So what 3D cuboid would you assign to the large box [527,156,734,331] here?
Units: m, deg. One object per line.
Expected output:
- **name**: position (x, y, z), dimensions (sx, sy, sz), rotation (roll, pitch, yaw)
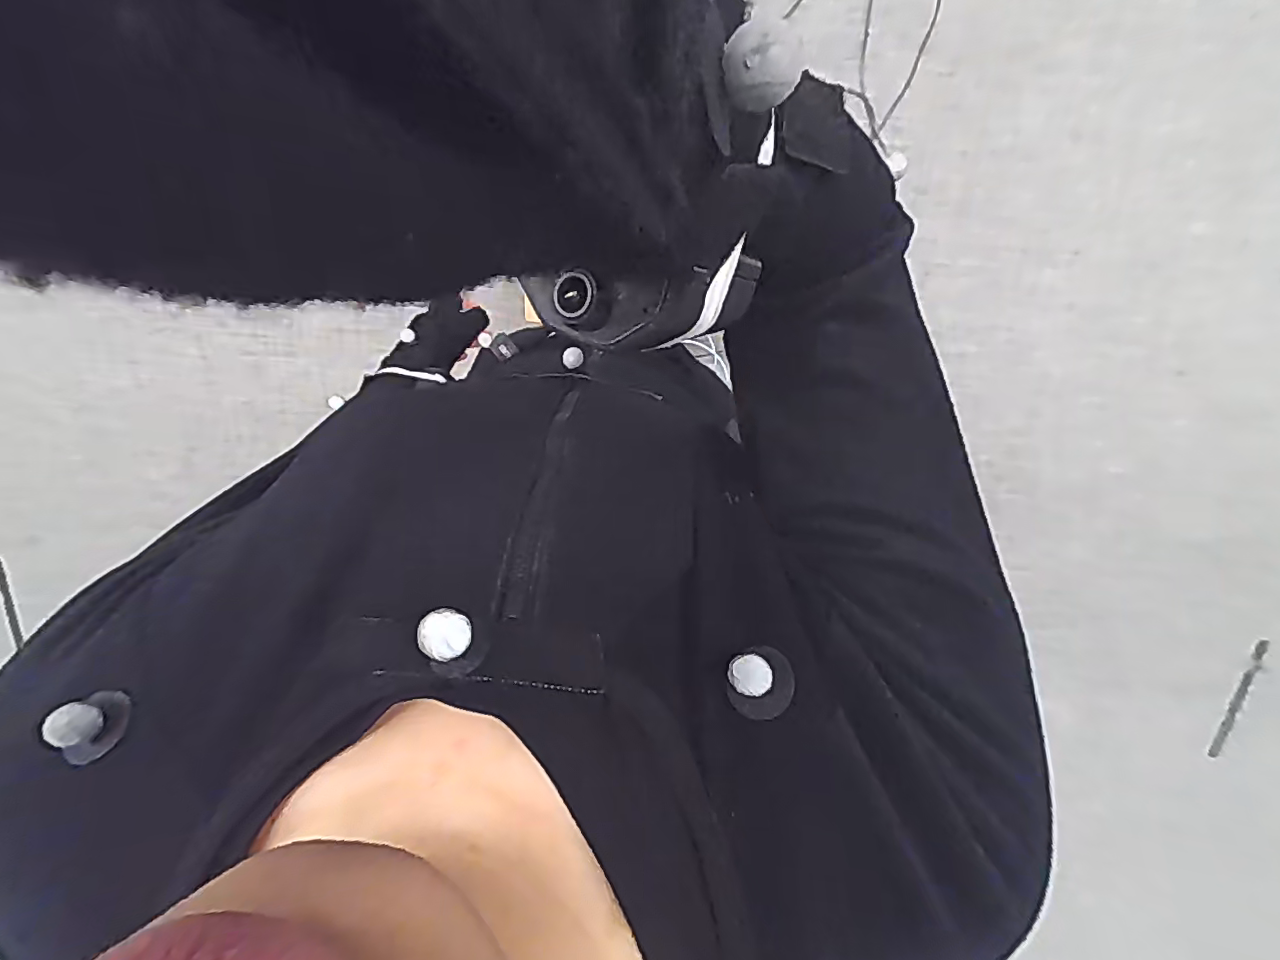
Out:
- **large box**: position (-0.019, -0.501, 1.211), dimensions (0.408, 0.320, 0.320), rotation (2, 104, 1)
